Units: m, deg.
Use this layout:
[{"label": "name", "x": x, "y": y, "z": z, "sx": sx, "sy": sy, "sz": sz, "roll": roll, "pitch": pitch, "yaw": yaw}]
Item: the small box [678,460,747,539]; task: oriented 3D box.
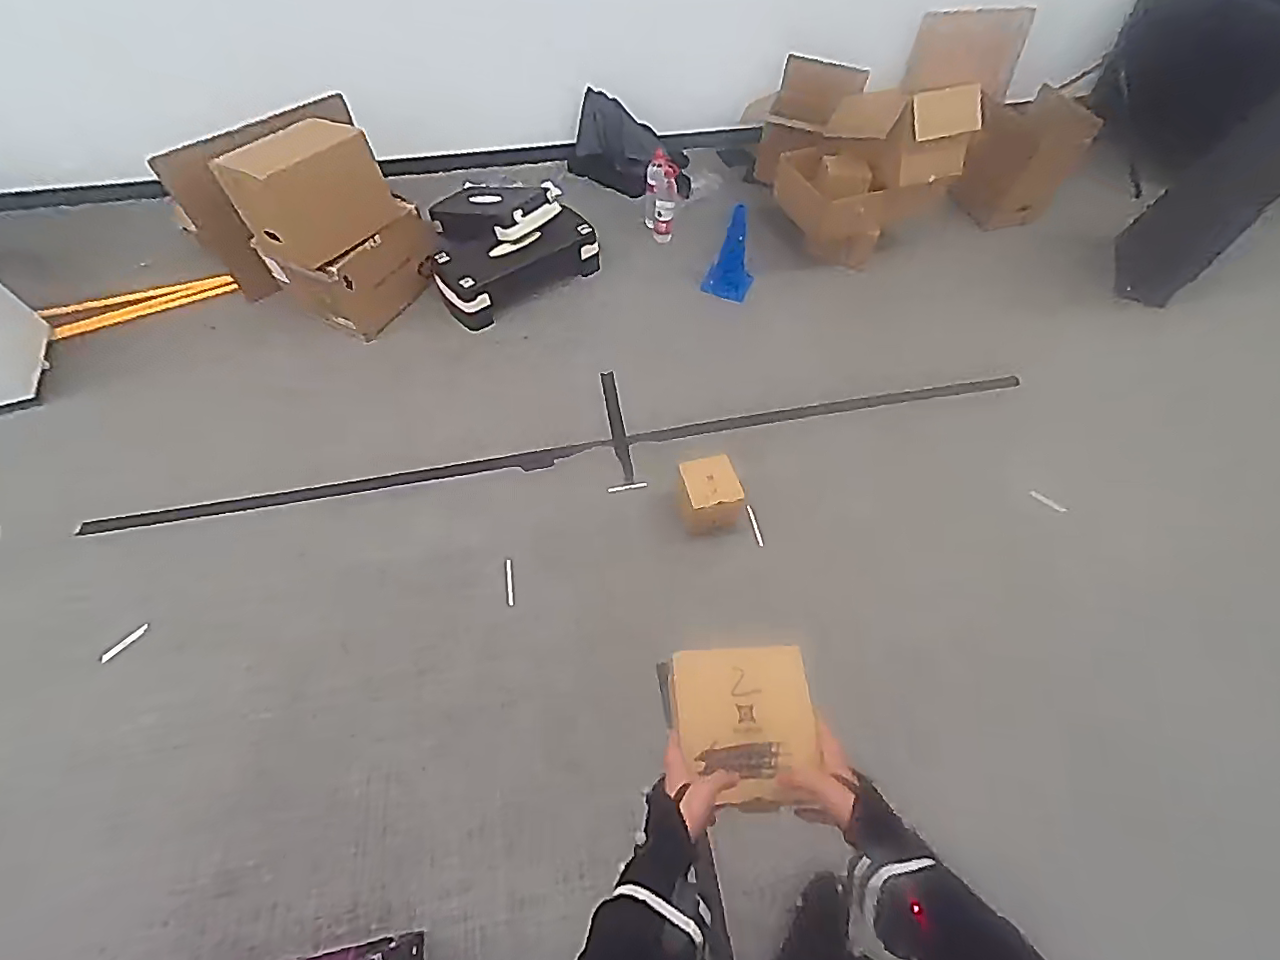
[{"label": "small box", "x": 0.223, "y": 0.064, "z": 1.732, "sx": 0.168, "sy": 0.176, "sz": 0.179, "roll": -12, "pitch": 59, "yaw": -8}]
